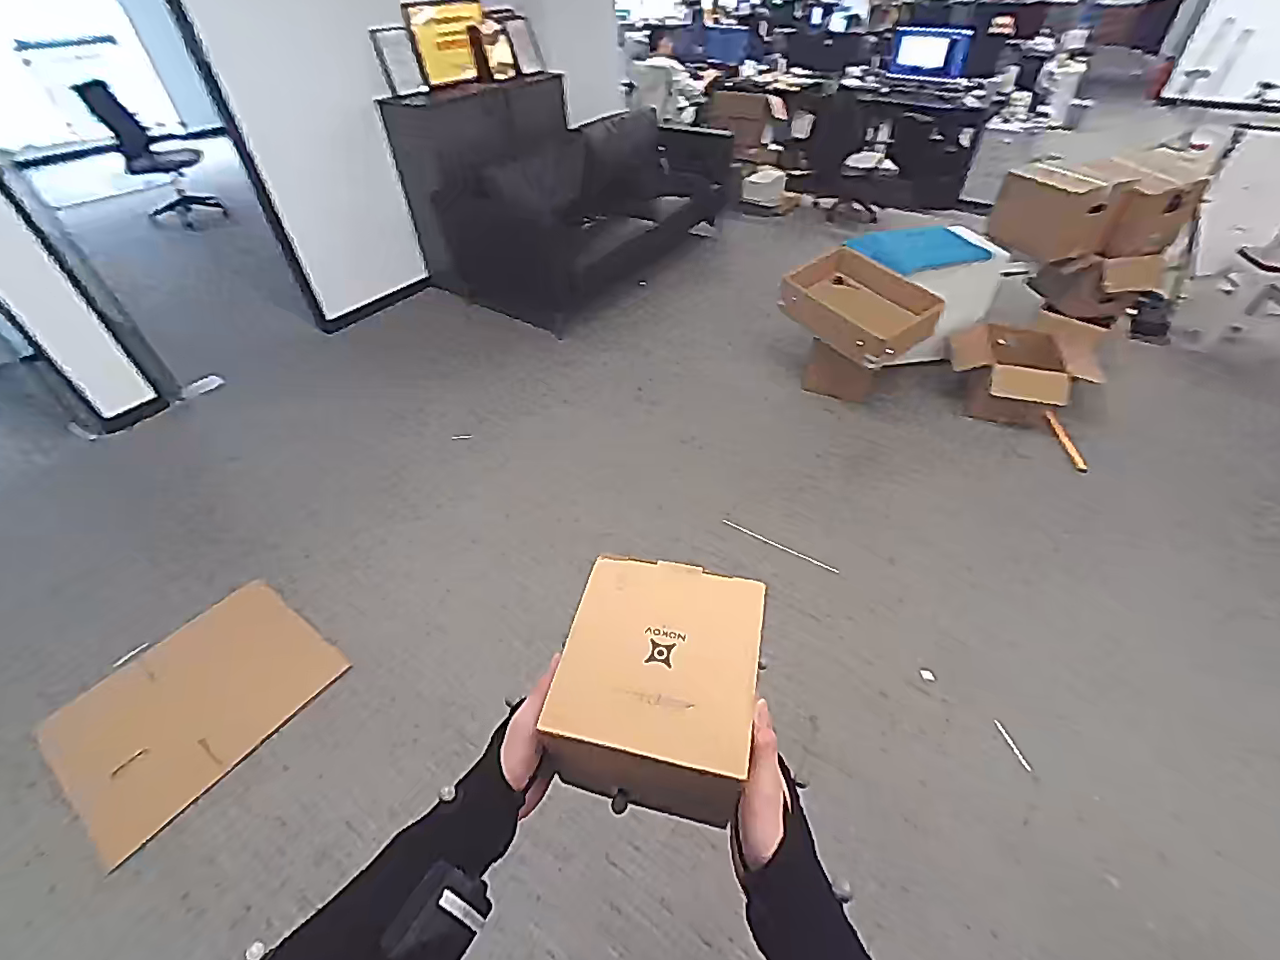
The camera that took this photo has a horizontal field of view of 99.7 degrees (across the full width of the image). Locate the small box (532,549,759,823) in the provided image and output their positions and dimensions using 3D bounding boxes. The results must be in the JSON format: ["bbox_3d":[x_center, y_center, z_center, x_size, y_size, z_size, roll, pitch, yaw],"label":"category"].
[{"bbox_3d":[0.014,0.196,0.518,0.168,0.176,0.179,8,48,11],"label":"small box"}]
